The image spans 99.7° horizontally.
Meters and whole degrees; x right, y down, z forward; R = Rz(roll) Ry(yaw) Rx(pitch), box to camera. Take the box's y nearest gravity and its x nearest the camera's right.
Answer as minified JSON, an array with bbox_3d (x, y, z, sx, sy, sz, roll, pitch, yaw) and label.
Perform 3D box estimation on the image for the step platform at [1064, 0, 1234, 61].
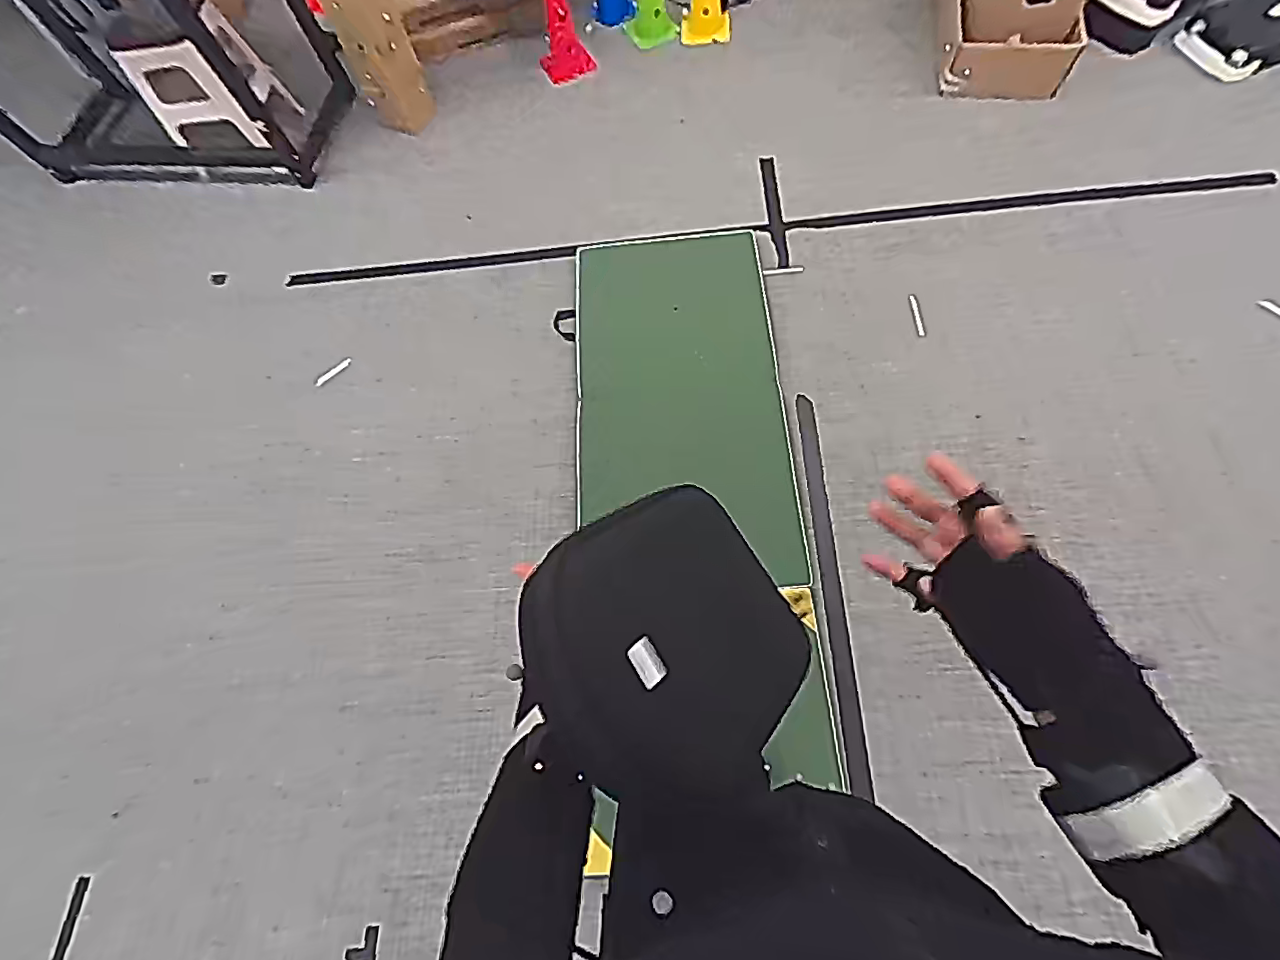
[{"bbox_3d":[1.989,-1.863,2.027,0.684,0.204,0.286,-31,69,-7],"label":"step platform"}]
